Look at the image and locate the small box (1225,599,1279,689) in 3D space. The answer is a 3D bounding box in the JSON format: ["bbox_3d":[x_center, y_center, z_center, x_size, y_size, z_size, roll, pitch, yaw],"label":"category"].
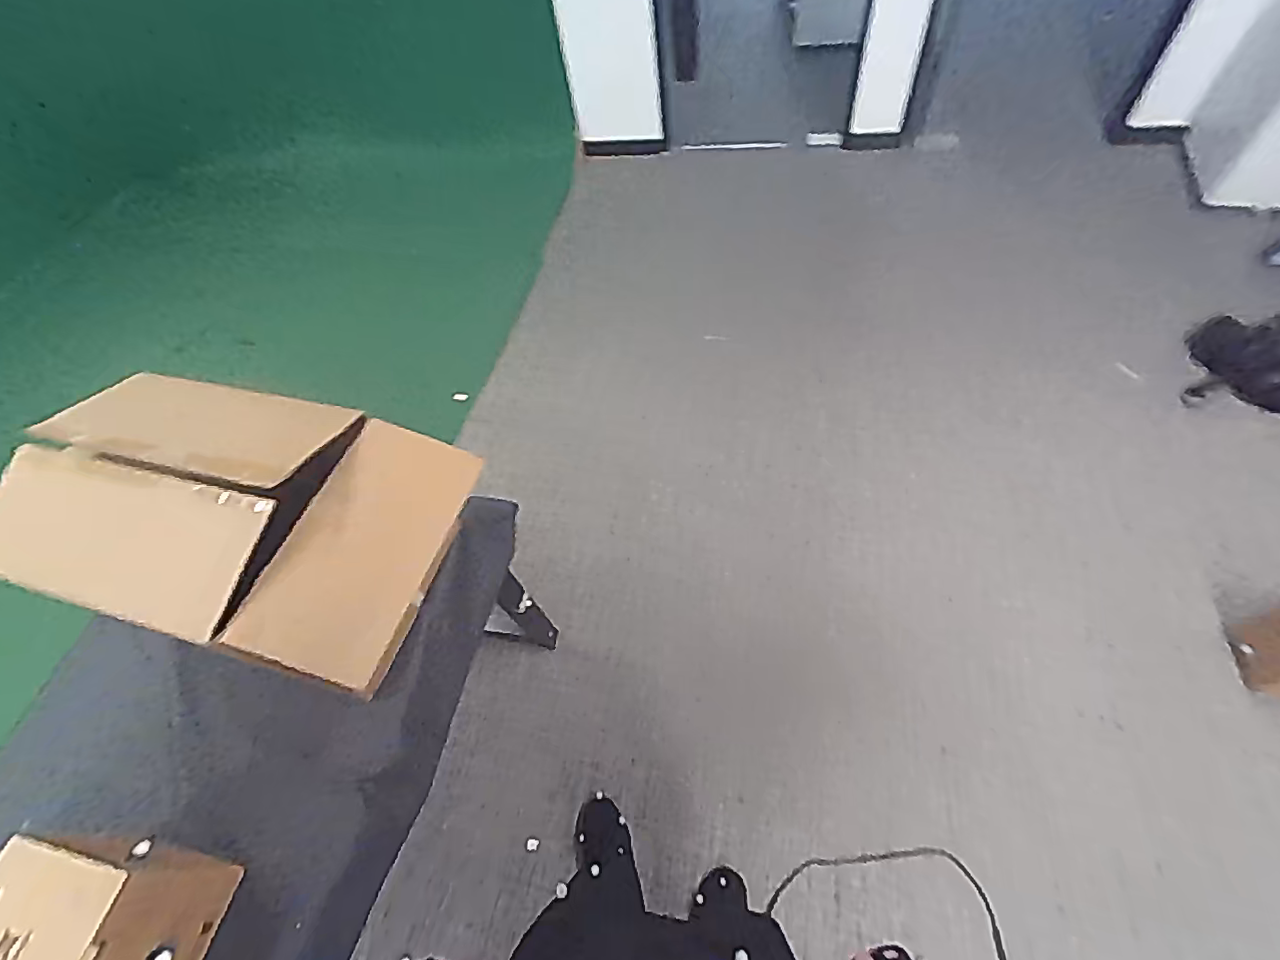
[{"bbox_3d":[1.535,0.385,1.243,0.179,0.176,0.168,5,59,12],"label":"small box"}]
